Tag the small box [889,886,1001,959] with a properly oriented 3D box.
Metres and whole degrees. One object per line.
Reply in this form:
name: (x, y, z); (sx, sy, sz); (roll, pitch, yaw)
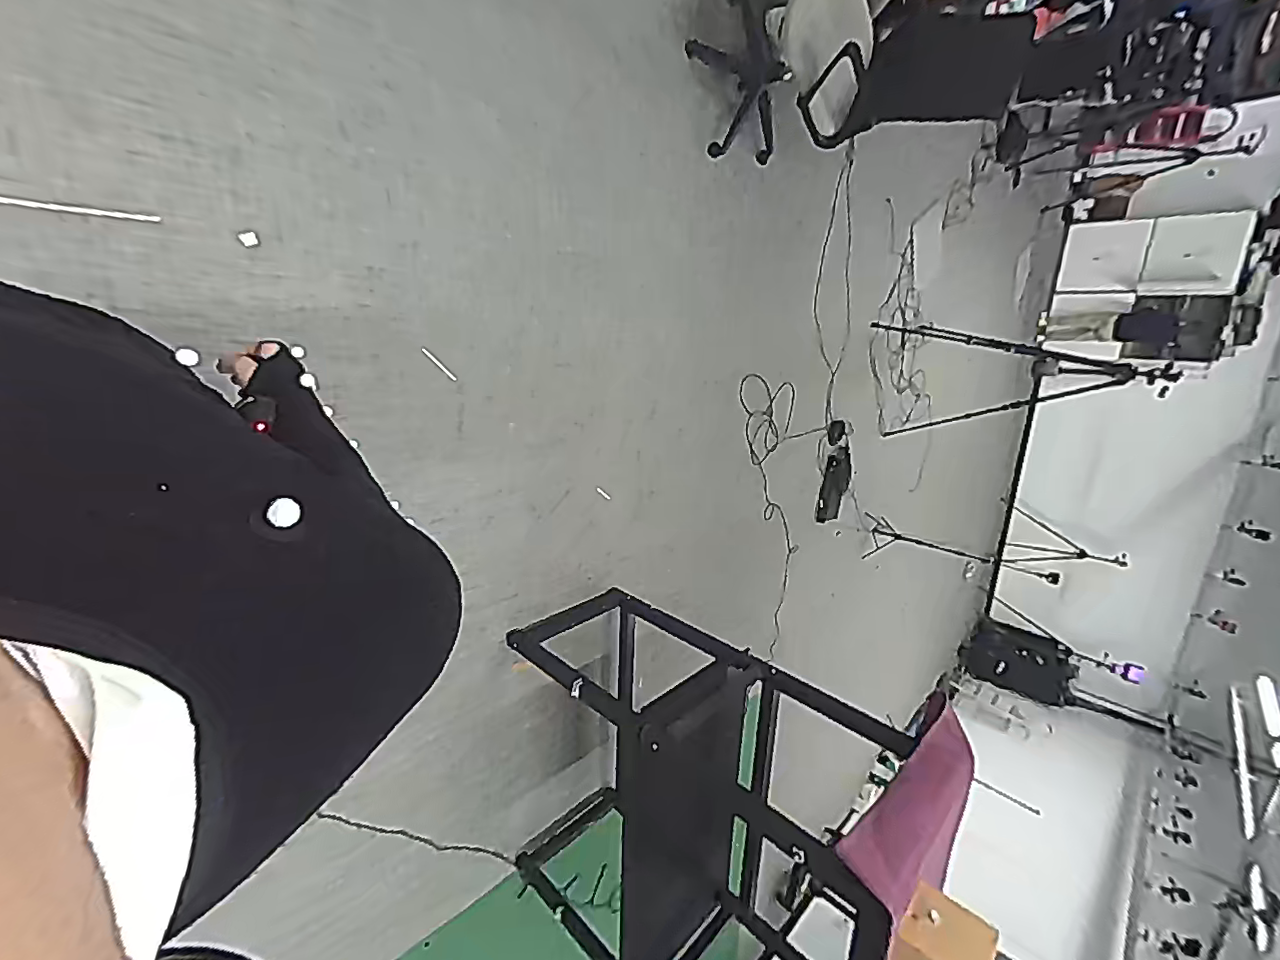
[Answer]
small box: (0.657, 1.056, 1.183); (0.168, 0.176, 0.179); (-15, 112, -43)
